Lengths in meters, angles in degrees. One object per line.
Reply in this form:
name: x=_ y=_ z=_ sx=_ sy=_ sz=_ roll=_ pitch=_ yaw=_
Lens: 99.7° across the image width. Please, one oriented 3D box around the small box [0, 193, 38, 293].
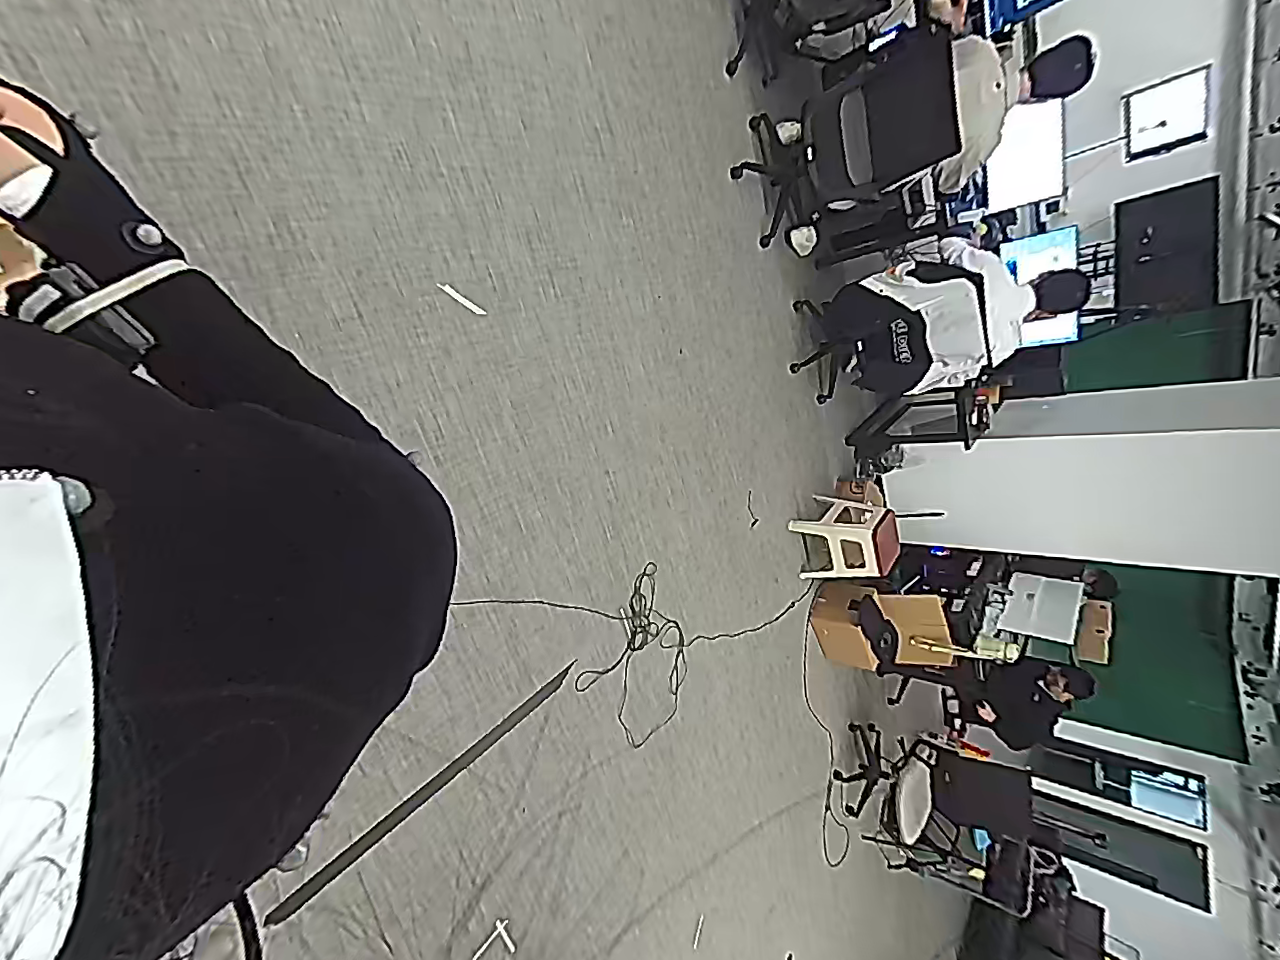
small box: x=-0.814 y=-0.290 z=0.580 sx=0.179 sy=0.176 sz=0.168 roll=-34 pitch=116 yaw=-42
